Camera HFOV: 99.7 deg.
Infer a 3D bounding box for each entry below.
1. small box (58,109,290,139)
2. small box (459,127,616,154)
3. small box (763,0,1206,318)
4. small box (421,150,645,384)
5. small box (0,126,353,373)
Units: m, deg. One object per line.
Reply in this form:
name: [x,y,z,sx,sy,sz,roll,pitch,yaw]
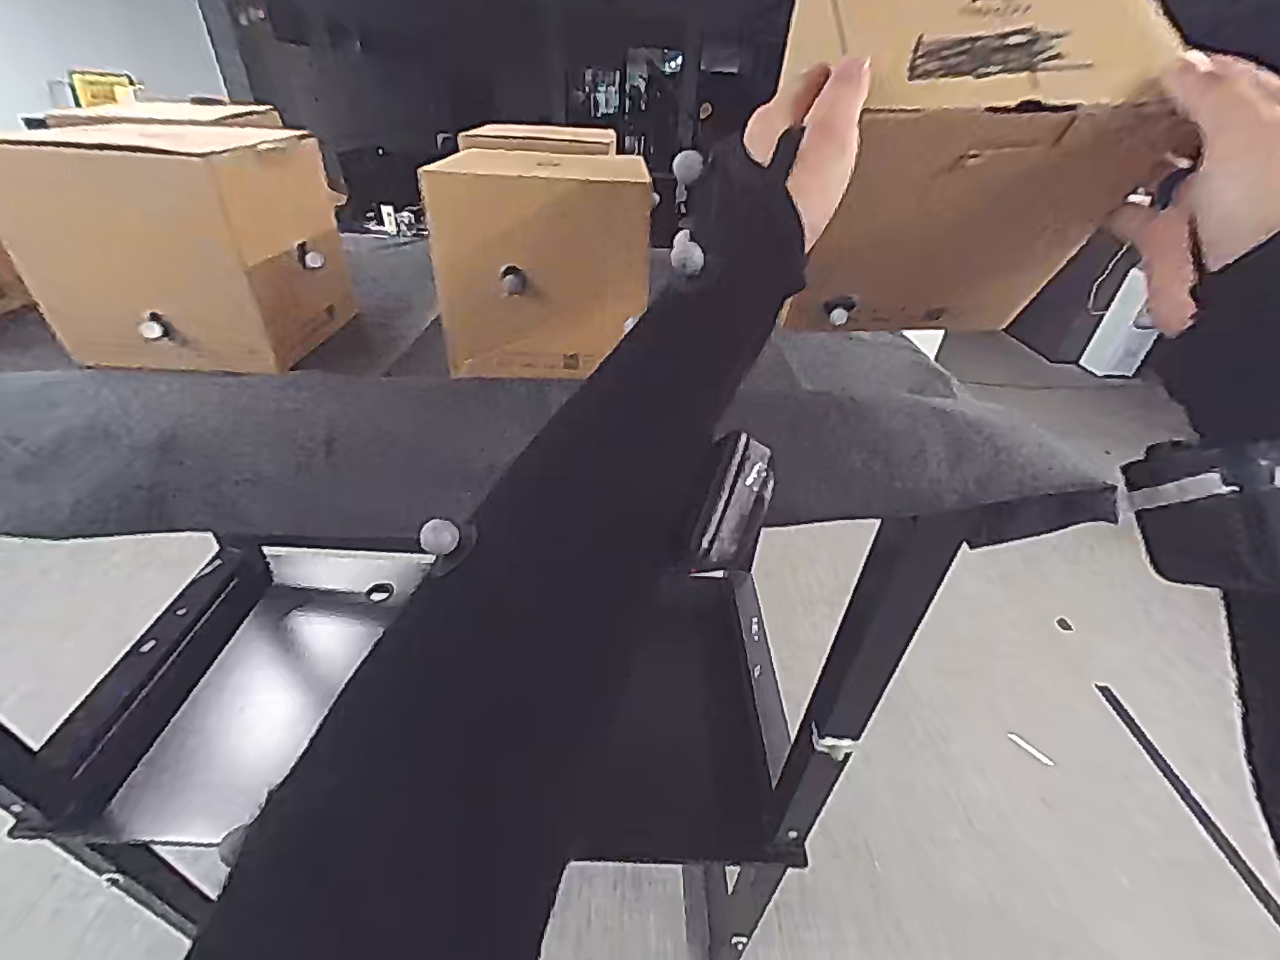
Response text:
small box: [-0.556,-0.373,0.700,0.168,0.176,0.179,-2,37,-6]
small box: [-0.124,-0.369,0.729,0.179,0.176,0.168,2,37,-1]
small box: [0.180,-0.222,0.353,0.168,0.176,0.179,-1,68,2]
small box: [-0.081,-0.198,0.500,0.168,0.176,0.179,1,35,-3]
small box: [-0.390,-0.207,0.486,0.179,0.176,0.168,3,35,-3]
